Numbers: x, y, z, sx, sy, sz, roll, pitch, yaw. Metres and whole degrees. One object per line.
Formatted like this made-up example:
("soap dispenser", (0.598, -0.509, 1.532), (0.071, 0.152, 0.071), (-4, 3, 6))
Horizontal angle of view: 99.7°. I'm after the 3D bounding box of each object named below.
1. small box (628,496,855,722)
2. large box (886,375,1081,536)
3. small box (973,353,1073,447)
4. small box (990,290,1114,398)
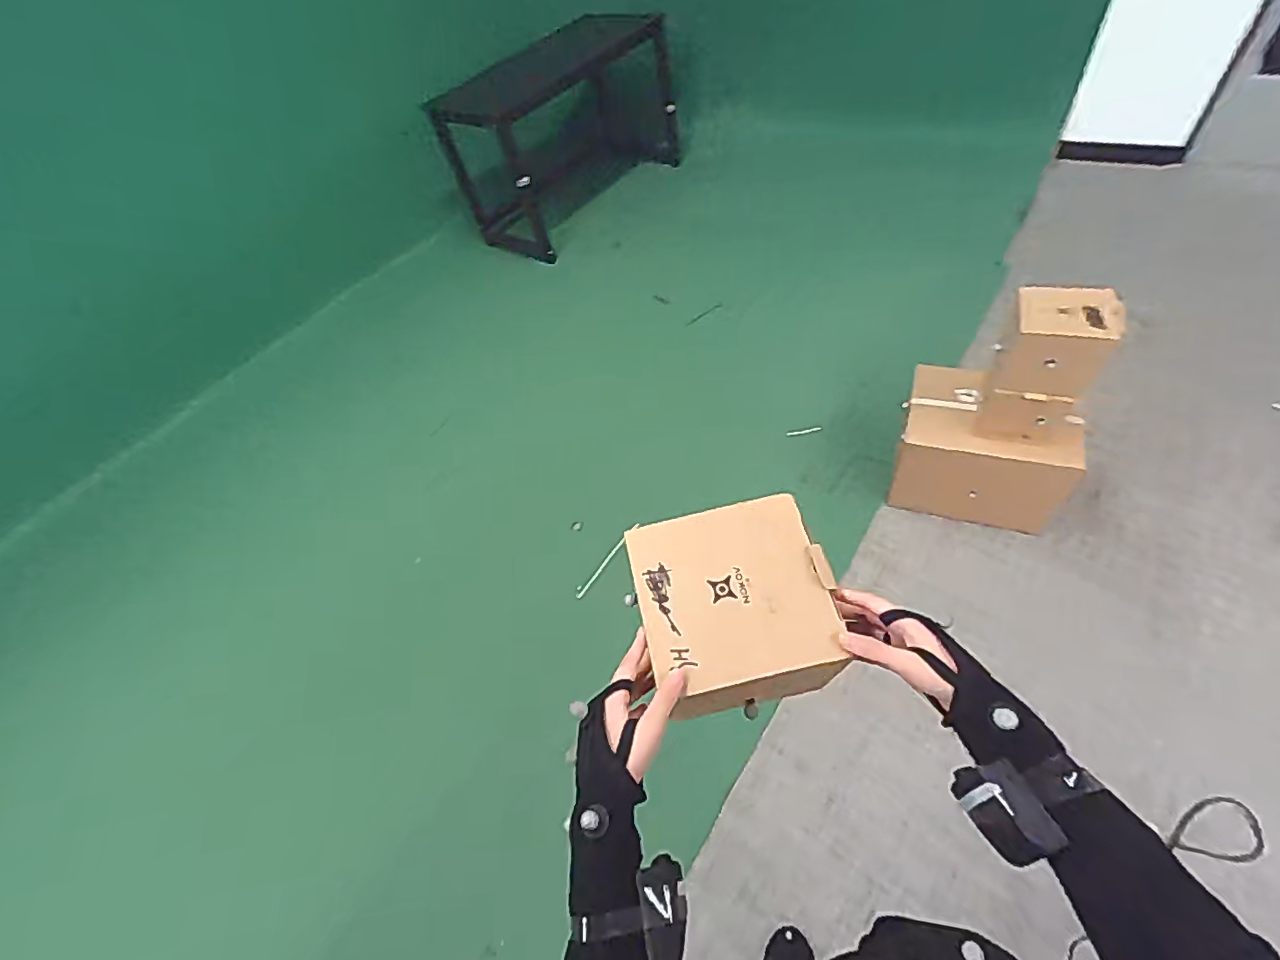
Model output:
("small box", (0.092, 0.141, 0.565), (0.179, 0.176, 0.168), (-12, 57, -1))
("large box", (0.964, -0.074, 1.562), (0.408, 0.320, 0.320), (10, 55, 23))
("small box", (0.950, -0.204, 1.351), (0.168, 0.176, 0.179), (12, 57, 22))
("small box", (0.922, -0.304, 1.224), (0.179, 0.176, 0.168), (11, 56, 21))
